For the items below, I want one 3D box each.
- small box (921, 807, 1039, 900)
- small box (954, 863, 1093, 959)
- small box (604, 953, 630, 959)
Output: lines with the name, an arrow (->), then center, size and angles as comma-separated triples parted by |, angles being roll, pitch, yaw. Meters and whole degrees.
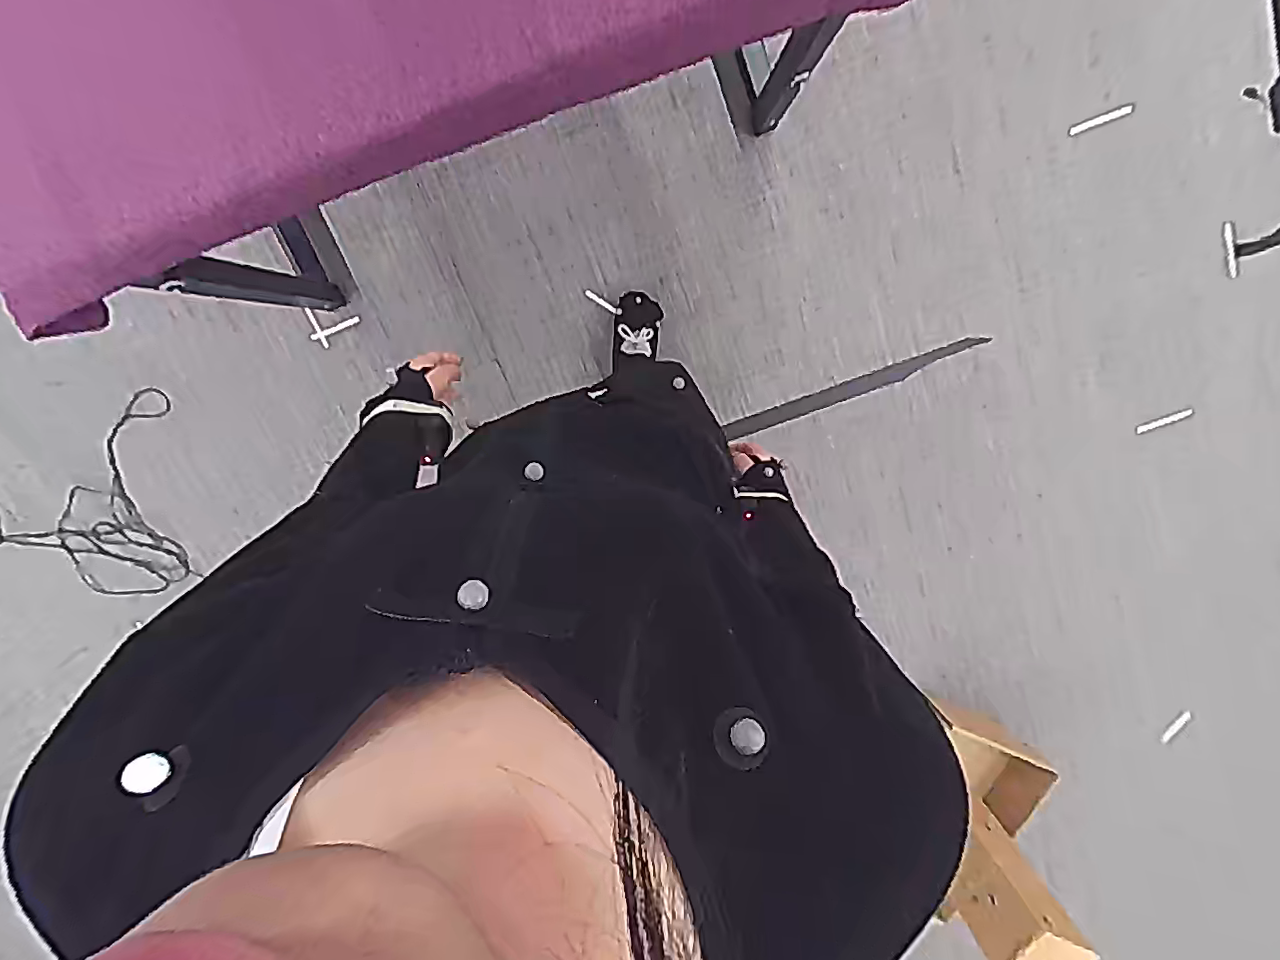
small box -> 0.912, 1.037, 1.473 | 0.179, 0.176, 0.168 | 29, 102, -8
small box -> 0.922, 1.086, 1.317 | 0.179, 0.176, 0.168 | 28, 102, -9
small box -> -0.053, 1.413, 1.428 | 0.168, 0.176, 0.179 | 30, 101, -8
